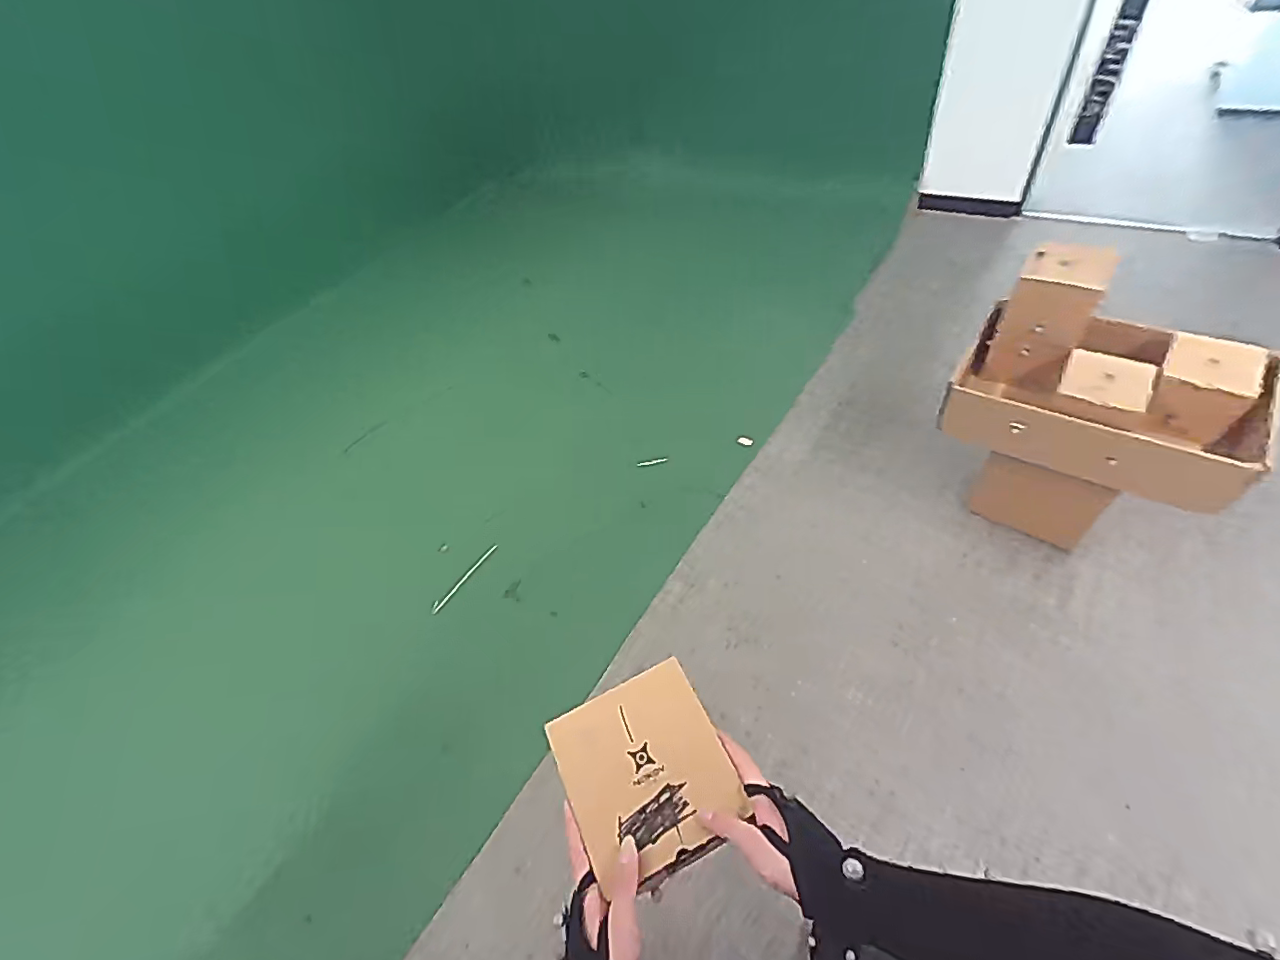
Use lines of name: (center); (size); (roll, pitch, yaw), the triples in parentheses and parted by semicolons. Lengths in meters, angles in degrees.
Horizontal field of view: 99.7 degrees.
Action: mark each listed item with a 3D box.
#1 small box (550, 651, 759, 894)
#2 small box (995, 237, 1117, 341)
small box: (0.020, 0.333, 0.621); (0.168, 0.176, 0.179); (-25, 54, -10)
small box: (1.030, -0.472, 1.350); (0.179, 0.176, 0.168); (26, 63, 28)
